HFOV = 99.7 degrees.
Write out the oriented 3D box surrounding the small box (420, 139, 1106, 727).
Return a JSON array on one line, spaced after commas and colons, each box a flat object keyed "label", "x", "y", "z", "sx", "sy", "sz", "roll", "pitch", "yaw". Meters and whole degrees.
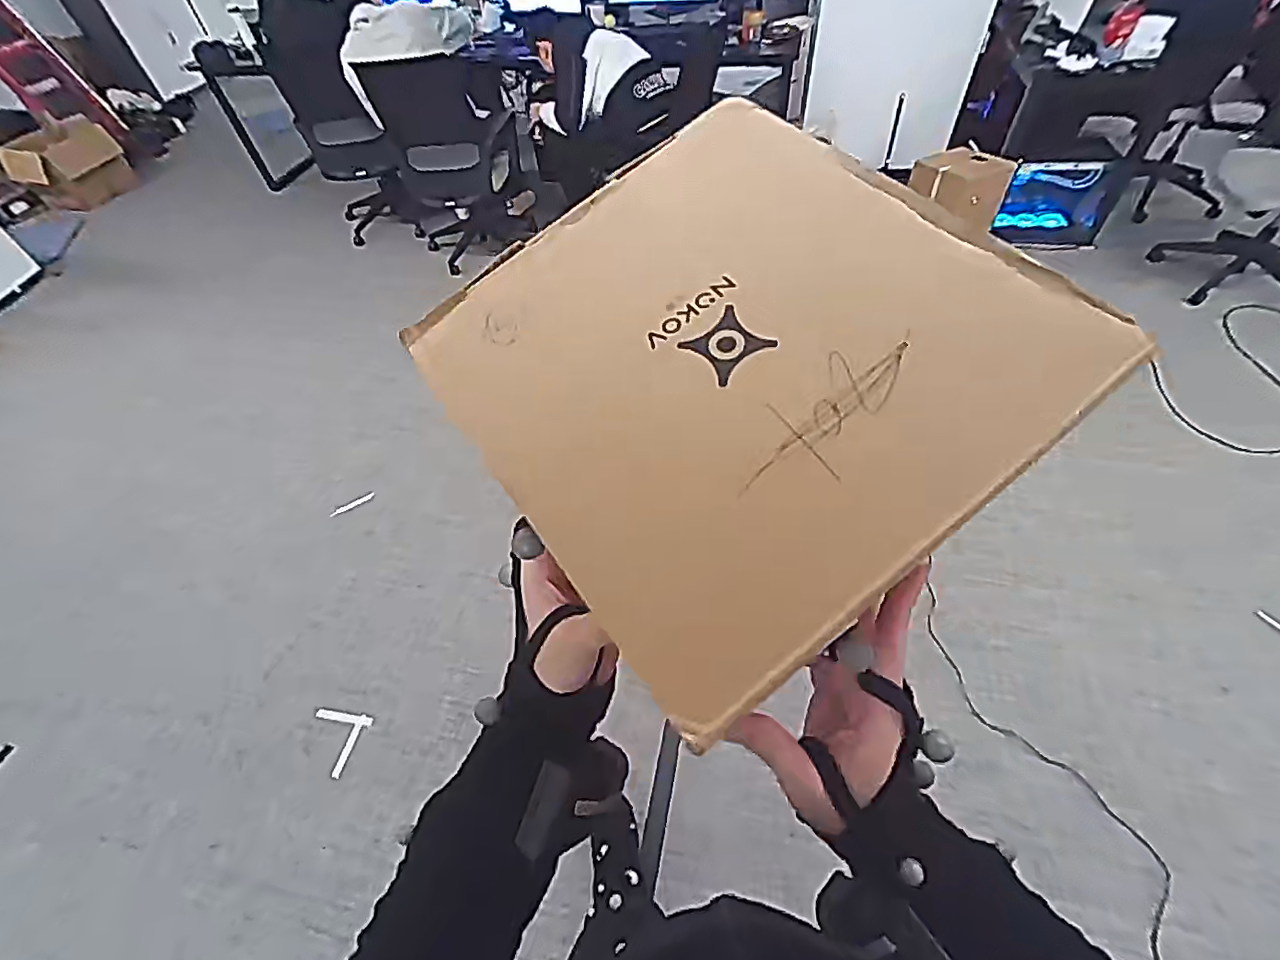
[{"label": "small box", "x": 0.039, "y": -0.007, "z": 0.258, "sx": 0.168, "sy": 0.176, "sz": 0.179, "roll": -39, "pitch": 65, "yaw": -6}]
